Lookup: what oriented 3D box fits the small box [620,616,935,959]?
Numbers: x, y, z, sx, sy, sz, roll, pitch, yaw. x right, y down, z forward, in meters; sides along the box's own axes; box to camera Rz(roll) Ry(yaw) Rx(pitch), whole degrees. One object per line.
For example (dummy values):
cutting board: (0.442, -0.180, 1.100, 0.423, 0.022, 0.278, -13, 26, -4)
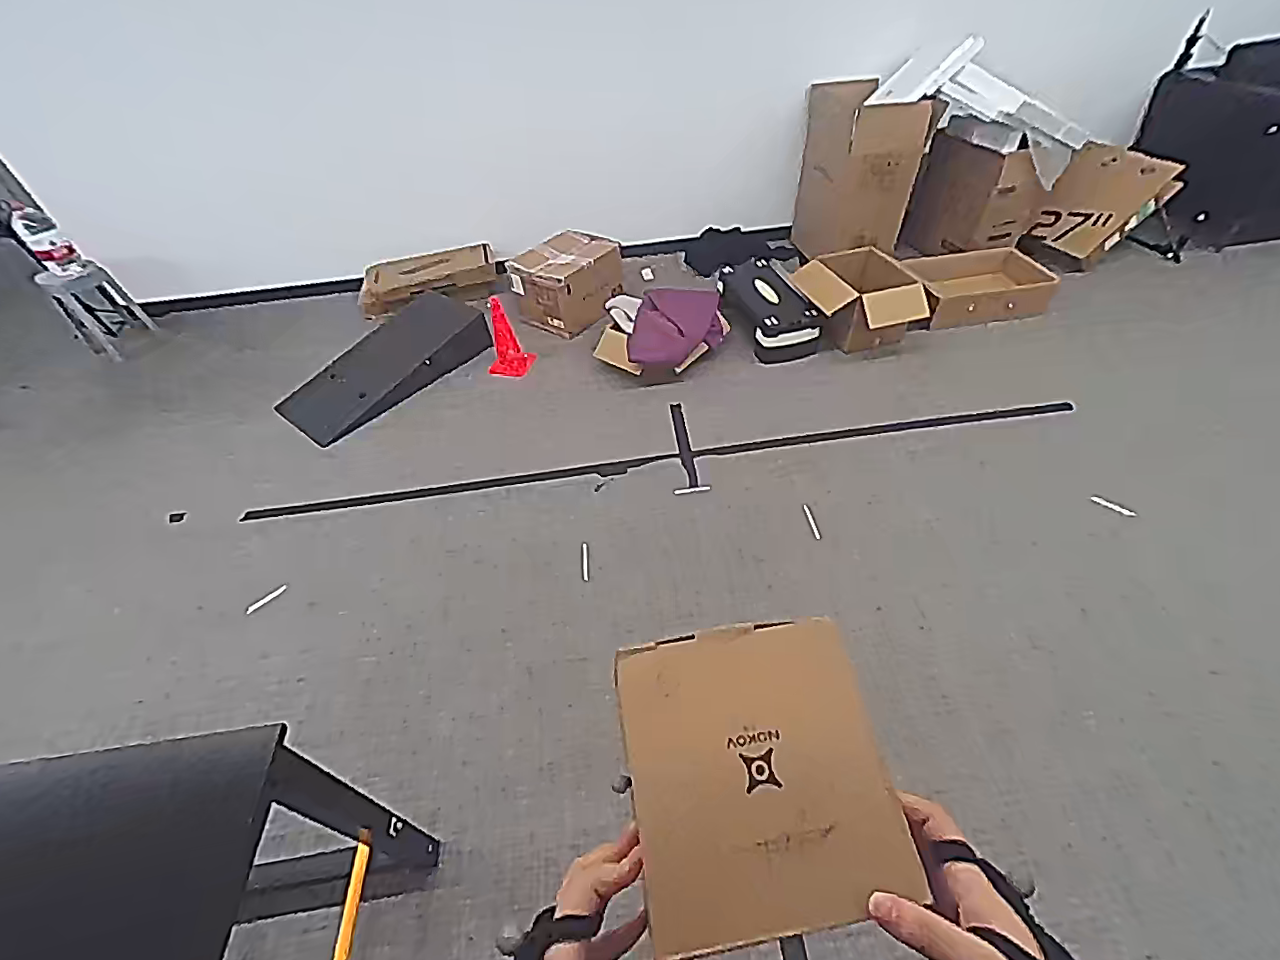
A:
small box: (0.075, 0.222, 0.412, 0.168, 0.176, 0.179, -7, 60, -5)
